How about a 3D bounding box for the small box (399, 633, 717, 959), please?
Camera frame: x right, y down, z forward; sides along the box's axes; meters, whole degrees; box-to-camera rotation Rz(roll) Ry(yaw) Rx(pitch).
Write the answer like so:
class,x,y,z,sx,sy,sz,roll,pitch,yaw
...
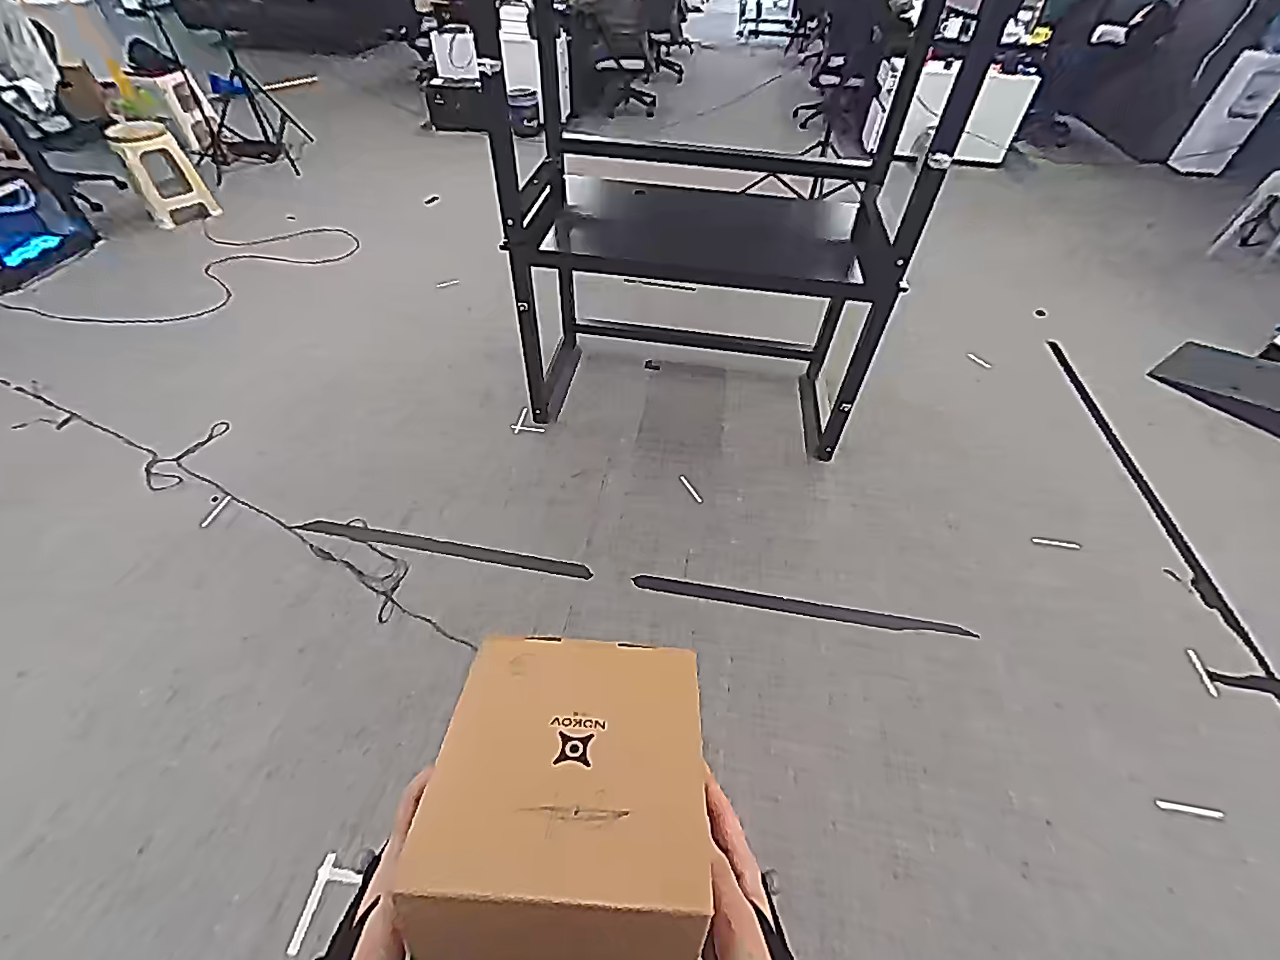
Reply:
class,x,y,z,sx,sy,sz,roll,pitch,yaw
small box,-0.045,0.237,0.382,0.168,0.176,0.179,4,30,0
